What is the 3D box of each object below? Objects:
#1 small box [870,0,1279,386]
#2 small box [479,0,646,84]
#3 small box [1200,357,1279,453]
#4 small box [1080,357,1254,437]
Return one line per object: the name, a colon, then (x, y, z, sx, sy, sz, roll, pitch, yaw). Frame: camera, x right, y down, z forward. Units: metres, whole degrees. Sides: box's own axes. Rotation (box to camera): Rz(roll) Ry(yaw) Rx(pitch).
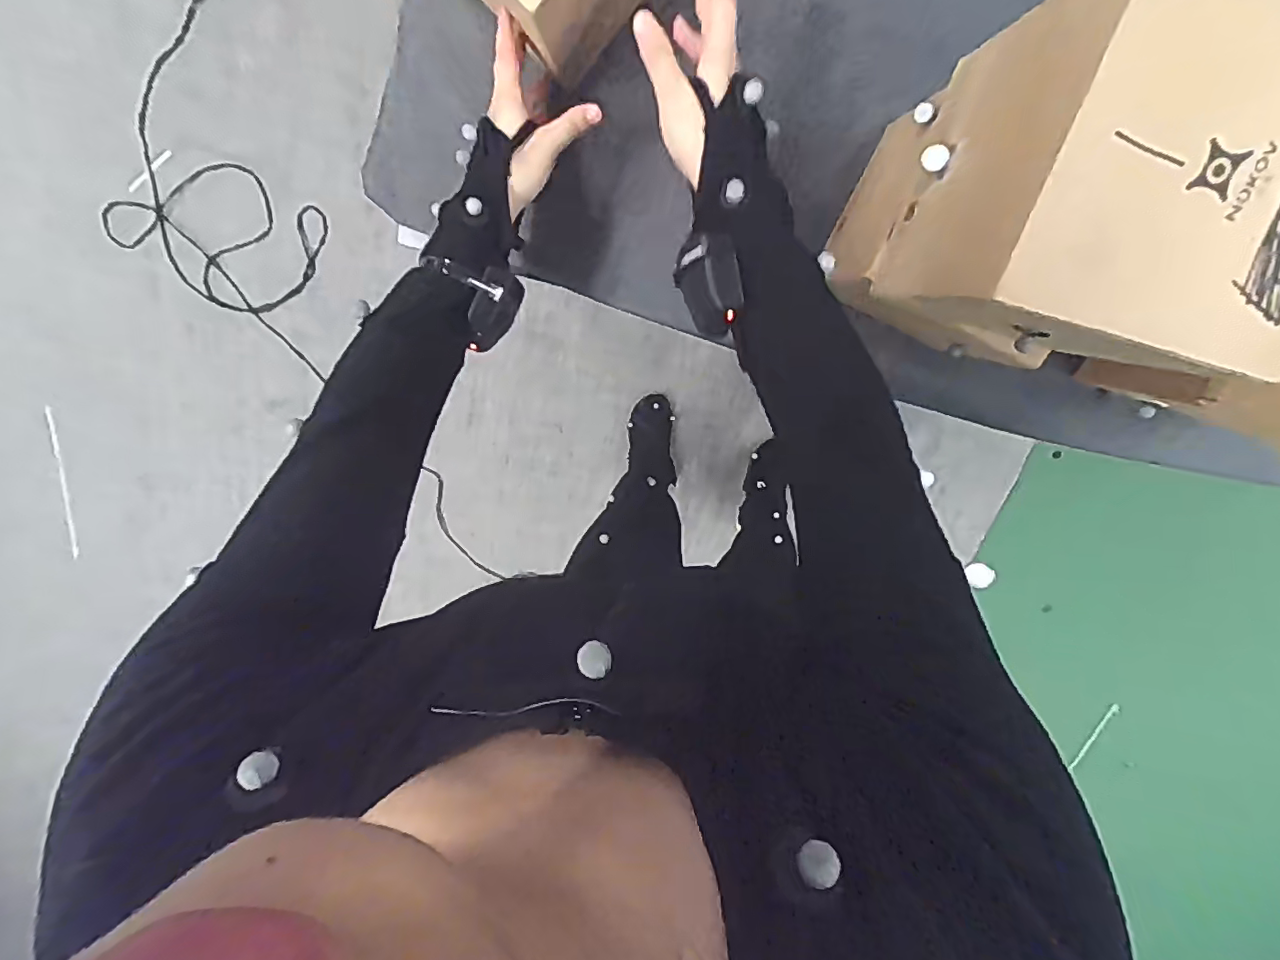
small box: (0.284, -0.174, 0.343, 0.179, 0.176, 0.168, 15, 109, -4)
small box: (-0.080, -0.462, 0.417, 0.179, 0.176, 0.168, 43, 105, -11)
small box: (0.585, -0.074, 0.376, 0.179, 0.176, 0.168, 25, 108, -6)
small box: (0.592, -0.142, 0.525, 0.168, 0.176, 0.179, 15, 109, -3)
